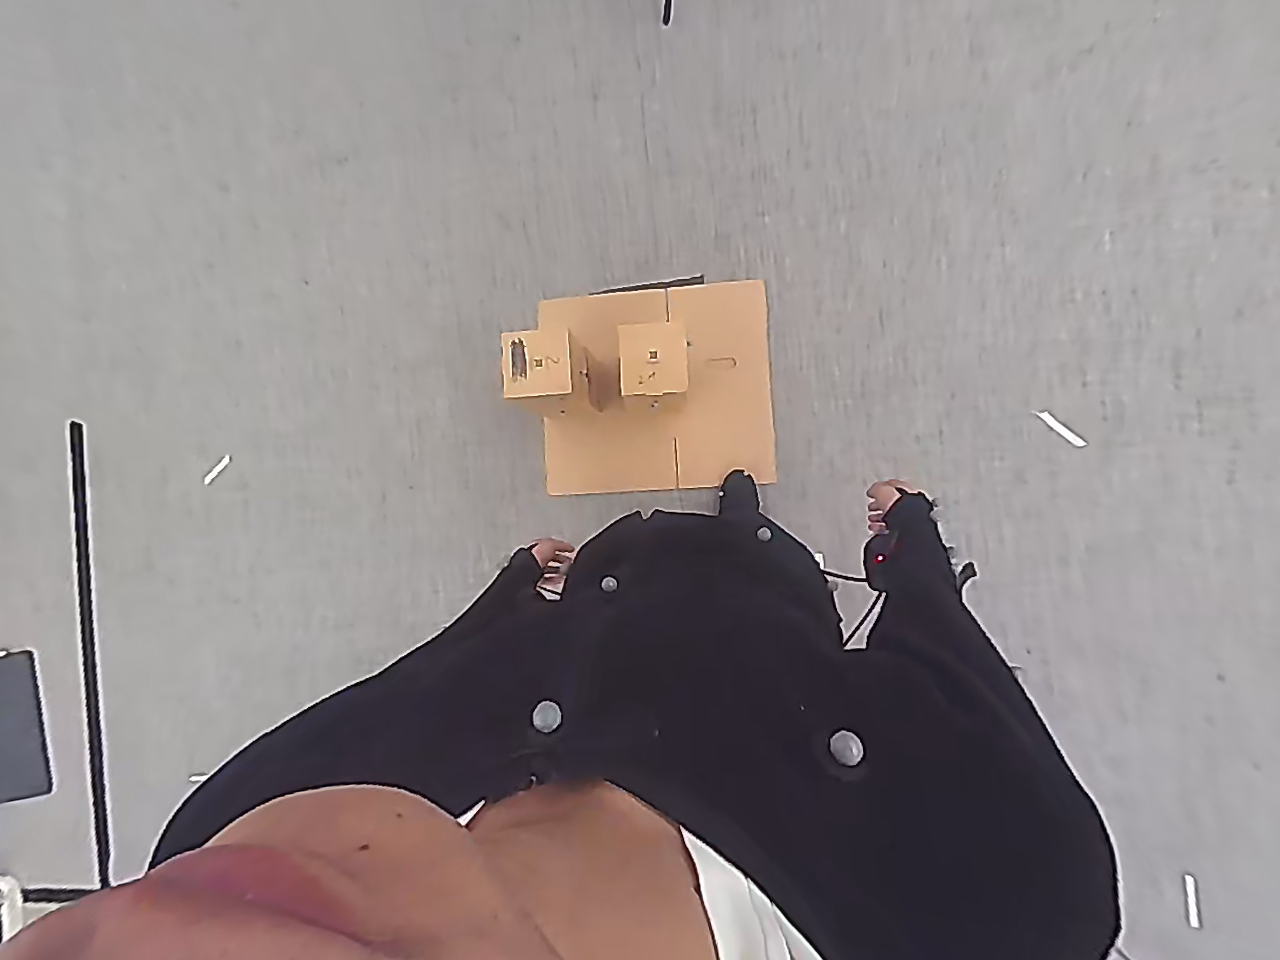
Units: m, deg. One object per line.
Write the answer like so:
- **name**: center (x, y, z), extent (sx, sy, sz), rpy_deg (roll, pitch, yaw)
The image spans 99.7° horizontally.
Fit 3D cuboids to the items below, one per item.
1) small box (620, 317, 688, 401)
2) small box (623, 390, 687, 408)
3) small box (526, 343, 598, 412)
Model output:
- **small box**: center (0.038, -0.304, 1.388), extent (0.168, 0.176, 0.179), rpy_deg (-2, 90, 6)
- **small box**: center (0.045, -0.300, 1.553), extent (0.179, 0.176, 0.168), rpy_deg (-2, 90, 6)
- **small box**: center (-0.220, -0.294, 1.579), extent (0.179, 0.176, 0.168), rpy_deg (-4, 89, 7)
